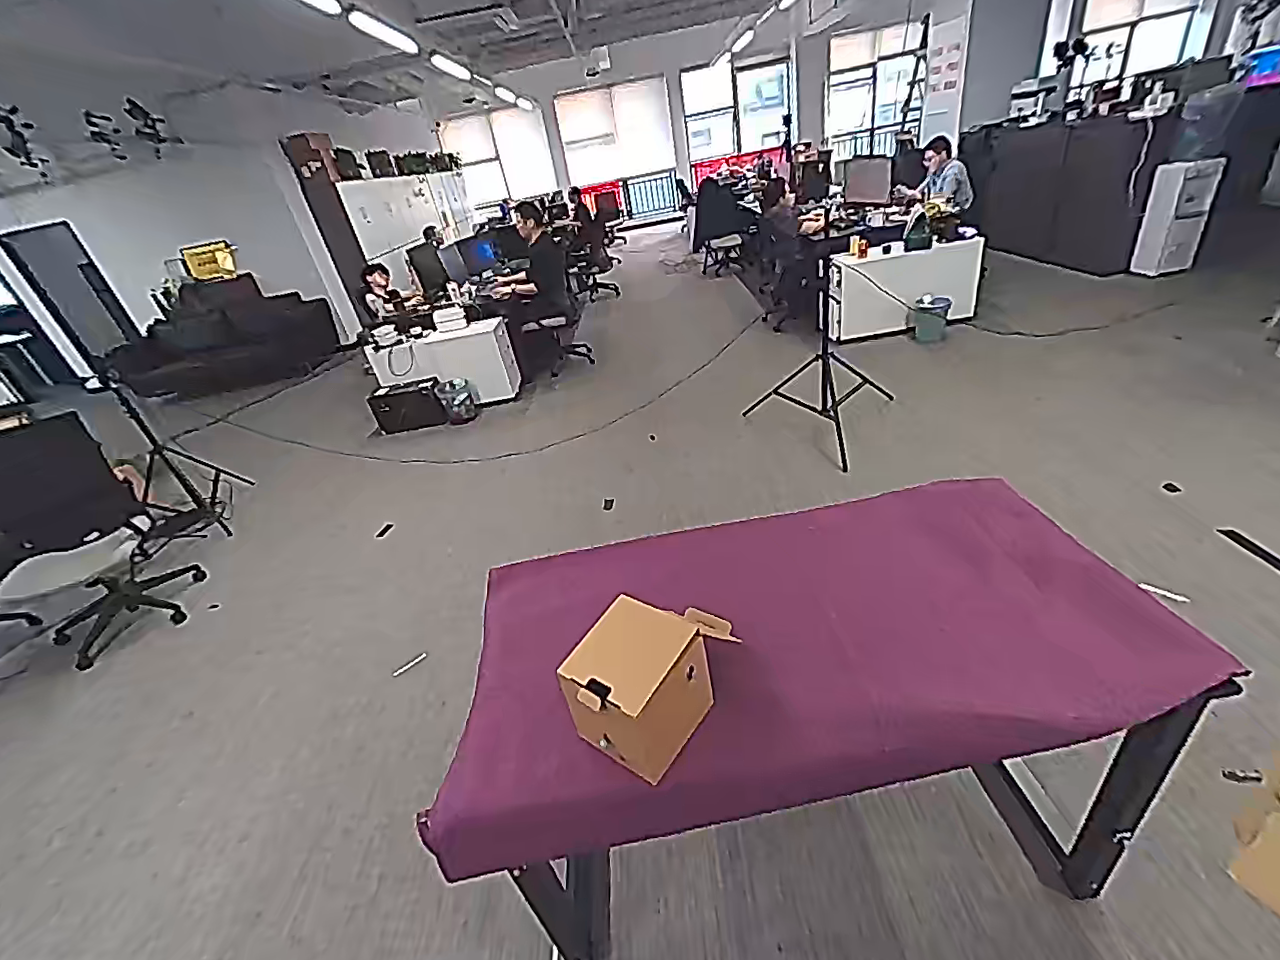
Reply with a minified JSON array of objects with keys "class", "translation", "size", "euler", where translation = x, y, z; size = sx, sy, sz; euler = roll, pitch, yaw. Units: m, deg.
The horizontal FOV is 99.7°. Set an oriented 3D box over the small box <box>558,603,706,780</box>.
[{"class":"small box","translation":[-0.003,0.342,0.892],"size":[0.168,0.176,0.179],"euler":[13,38,38]}]
